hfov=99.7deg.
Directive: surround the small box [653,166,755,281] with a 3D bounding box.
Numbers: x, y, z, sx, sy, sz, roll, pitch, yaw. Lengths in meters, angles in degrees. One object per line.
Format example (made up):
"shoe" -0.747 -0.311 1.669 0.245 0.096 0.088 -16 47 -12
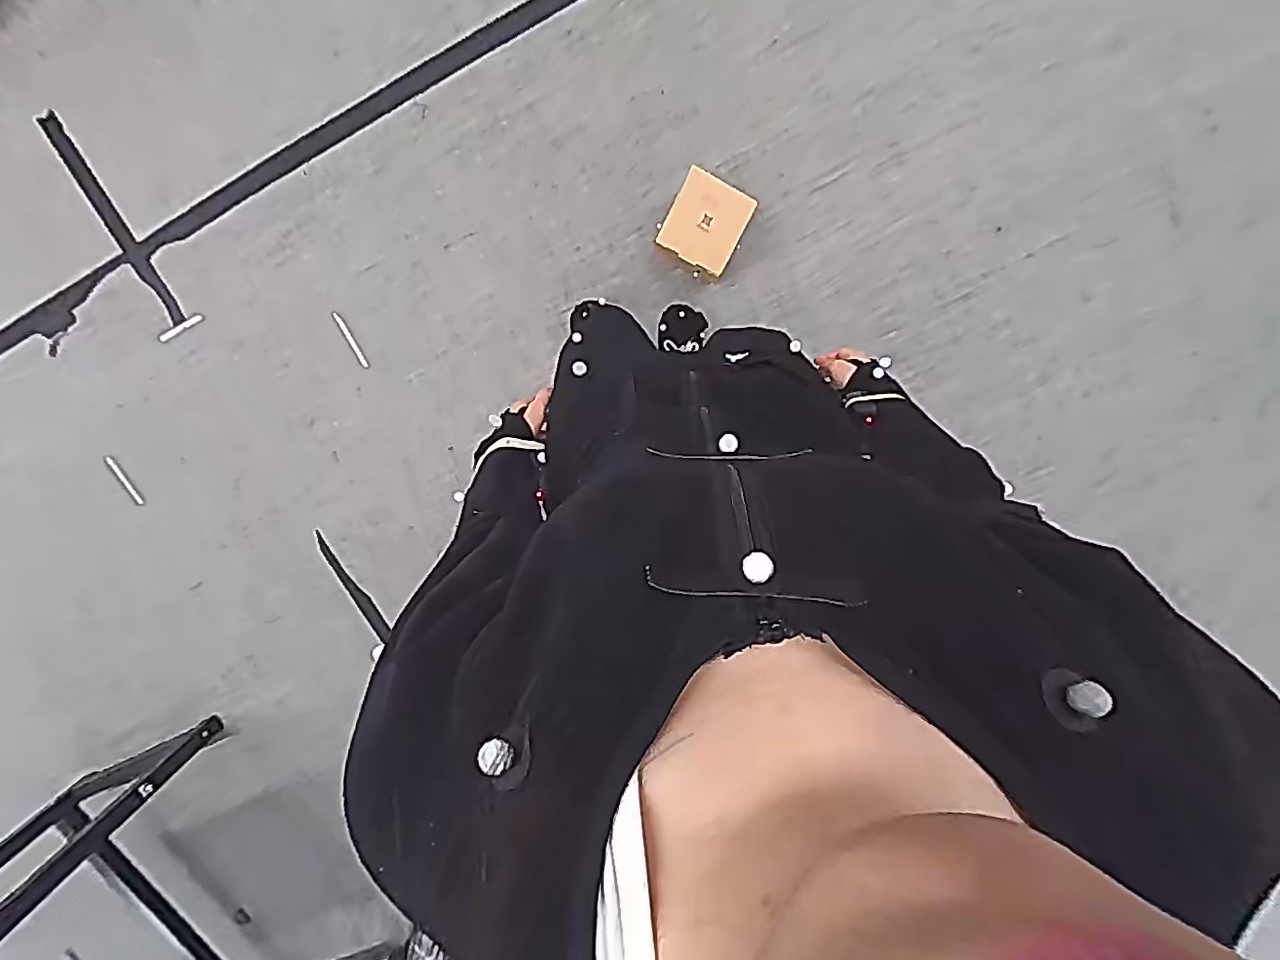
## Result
"small box" 0.142 -0.584 1.259 0.168 0.176 0.179 26 103 -8
